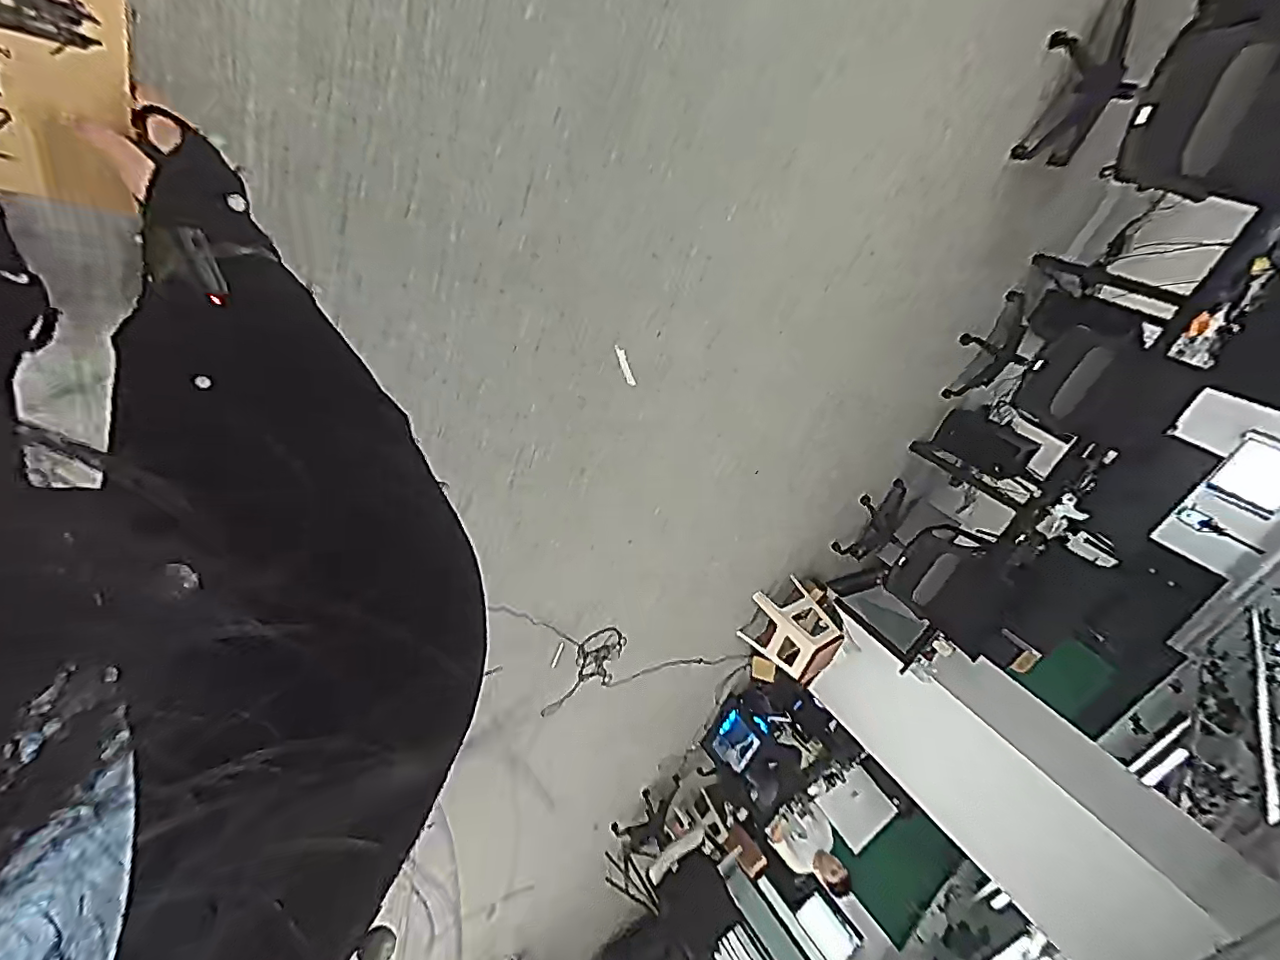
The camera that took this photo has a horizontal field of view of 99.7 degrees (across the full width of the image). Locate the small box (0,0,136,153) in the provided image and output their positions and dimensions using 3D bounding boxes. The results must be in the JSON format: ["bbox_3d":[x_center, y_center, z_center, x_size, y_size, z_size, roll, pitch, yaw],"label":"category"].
[{"bbox_3d":[-0.752,-0.539,0.671,0.168,0.176,0.179,-7,128,-39],"label":"small box"}]
